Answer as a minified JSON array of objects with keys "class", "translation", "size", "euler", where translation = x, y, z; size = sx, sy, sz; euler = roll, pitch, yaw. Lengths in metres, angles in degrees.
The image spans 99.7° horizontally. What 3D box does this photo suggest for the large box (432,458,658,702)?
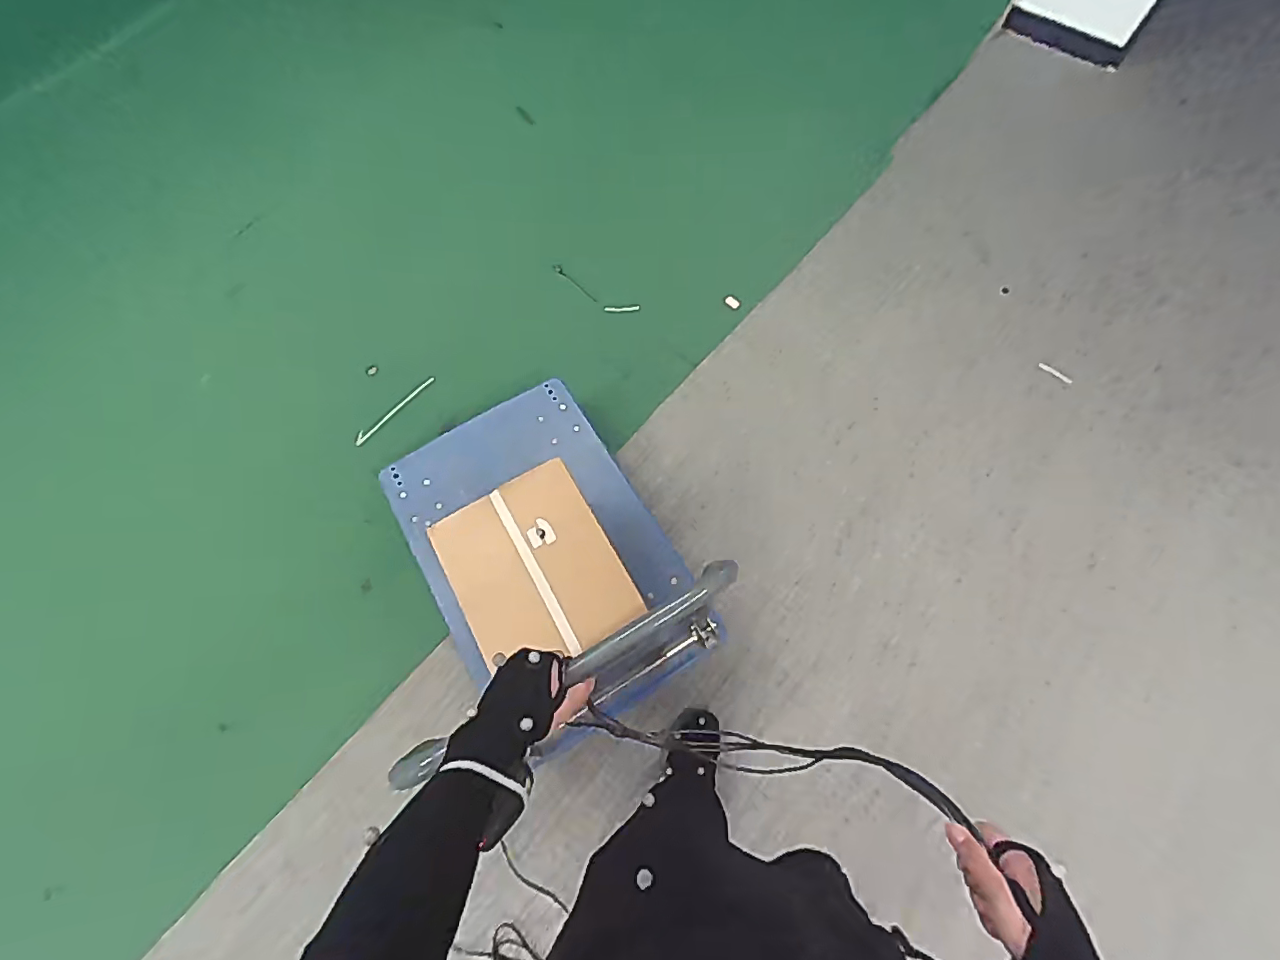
[{"class":"large box","translation":[-0.193,0.234,1.217],"size":[0.320,0.320,0.408],"euler":[-29,70,-9]}]
